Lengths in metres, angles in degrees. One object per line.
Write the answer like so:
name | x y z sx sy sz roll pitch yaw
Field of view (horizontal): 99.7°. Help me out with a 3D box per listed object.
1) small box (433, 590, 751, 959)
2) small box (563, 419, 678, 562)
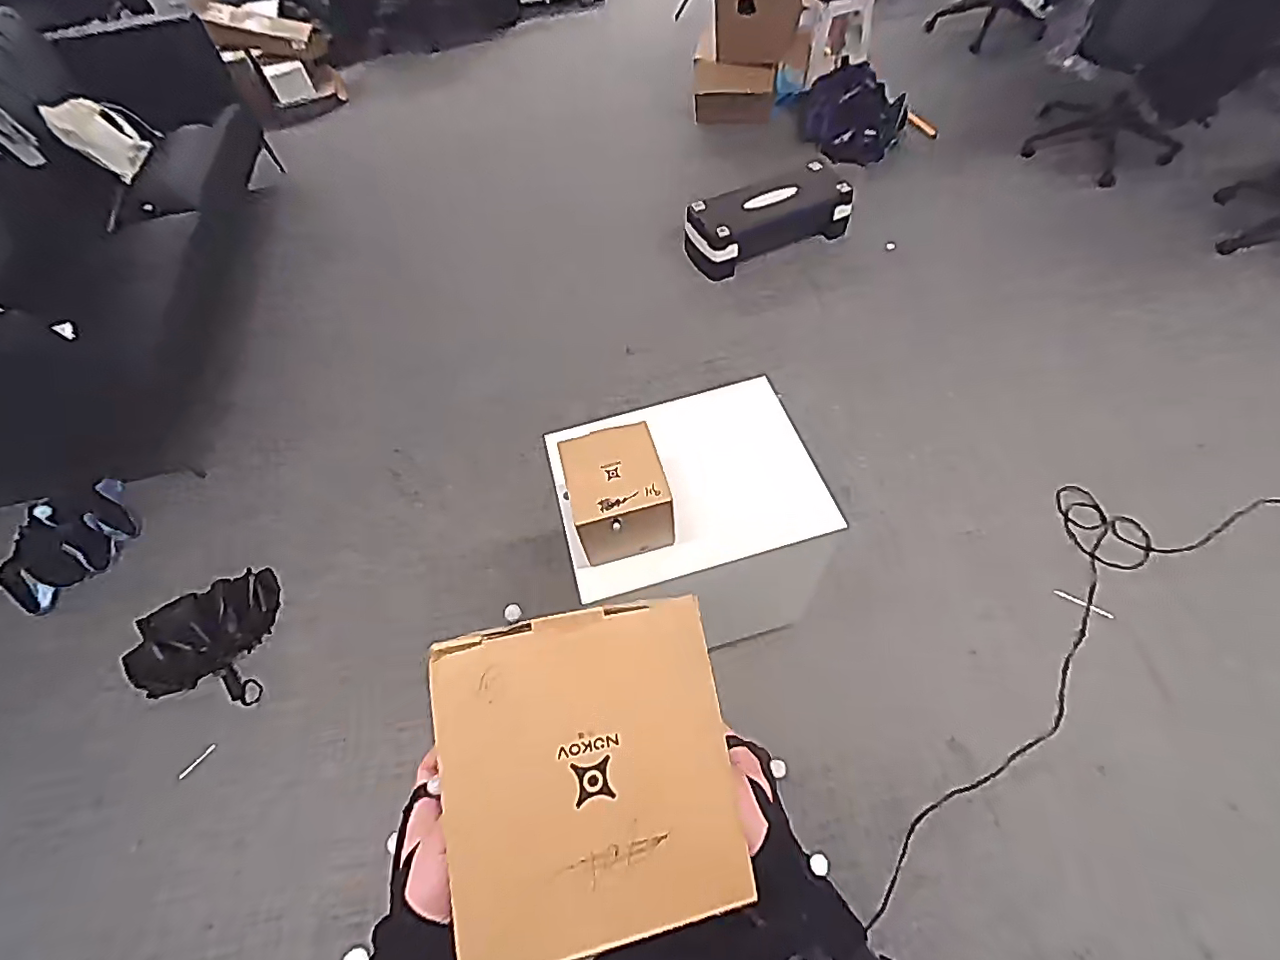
small box | -0.041 0.182 0.390 0.168 0.176 0.179 -9 79 -10
small box | -0.033 0.023 0.979 0.168 0.176 0.179 -15 57 -3
